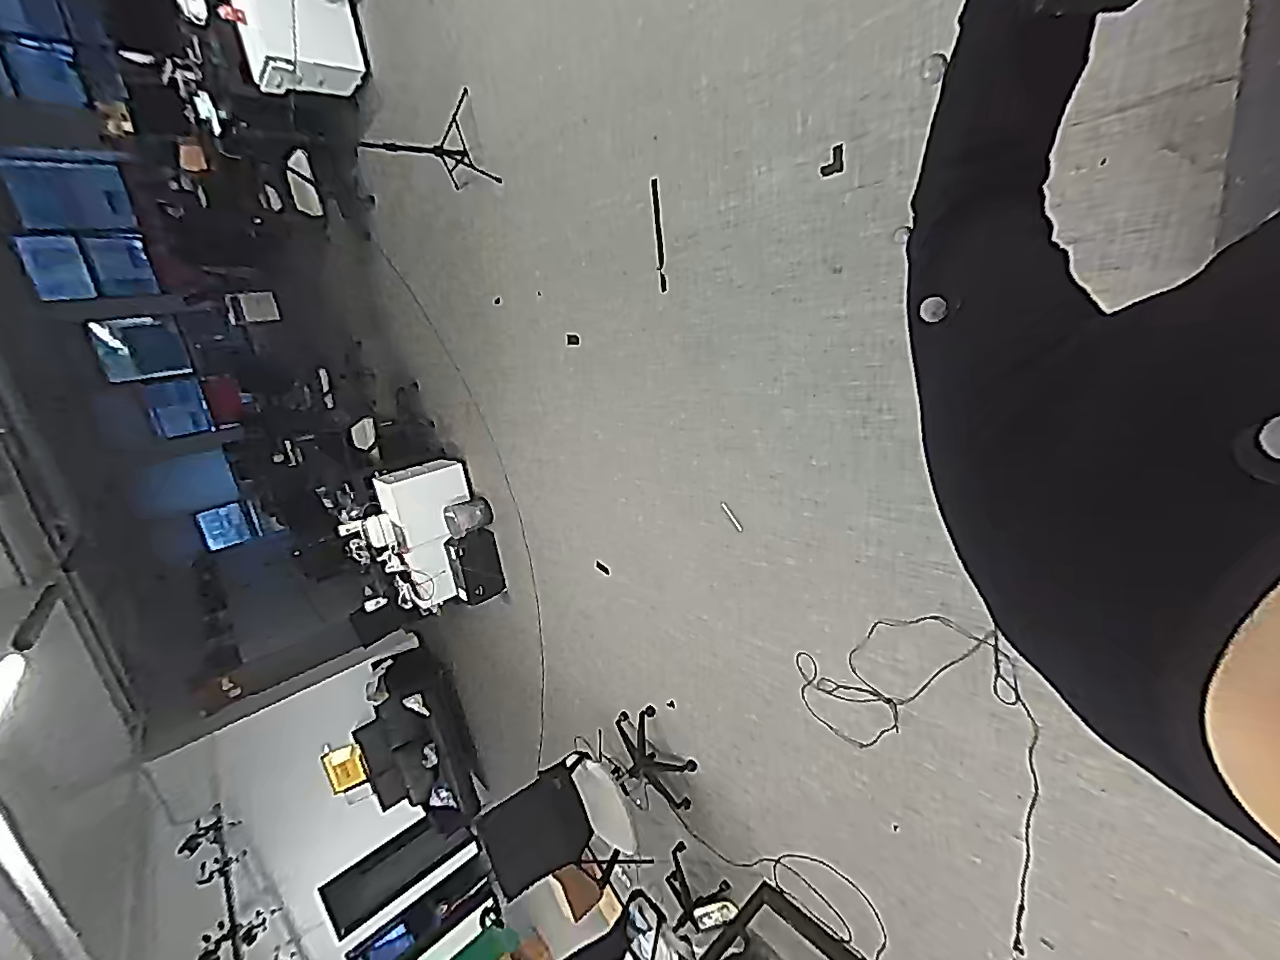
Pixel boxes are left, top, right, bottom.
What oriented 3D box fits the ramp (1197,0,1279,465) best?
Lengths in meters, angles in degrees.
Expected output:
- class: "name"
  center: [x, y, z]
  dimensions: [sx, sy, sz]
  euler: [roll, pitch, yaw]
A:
- class: "ramp"
  center: [1.204, -0.452, 0.774]
  dimensions: [0.509, 0.206, 0.991]
  euler: [8, 114, 49]
